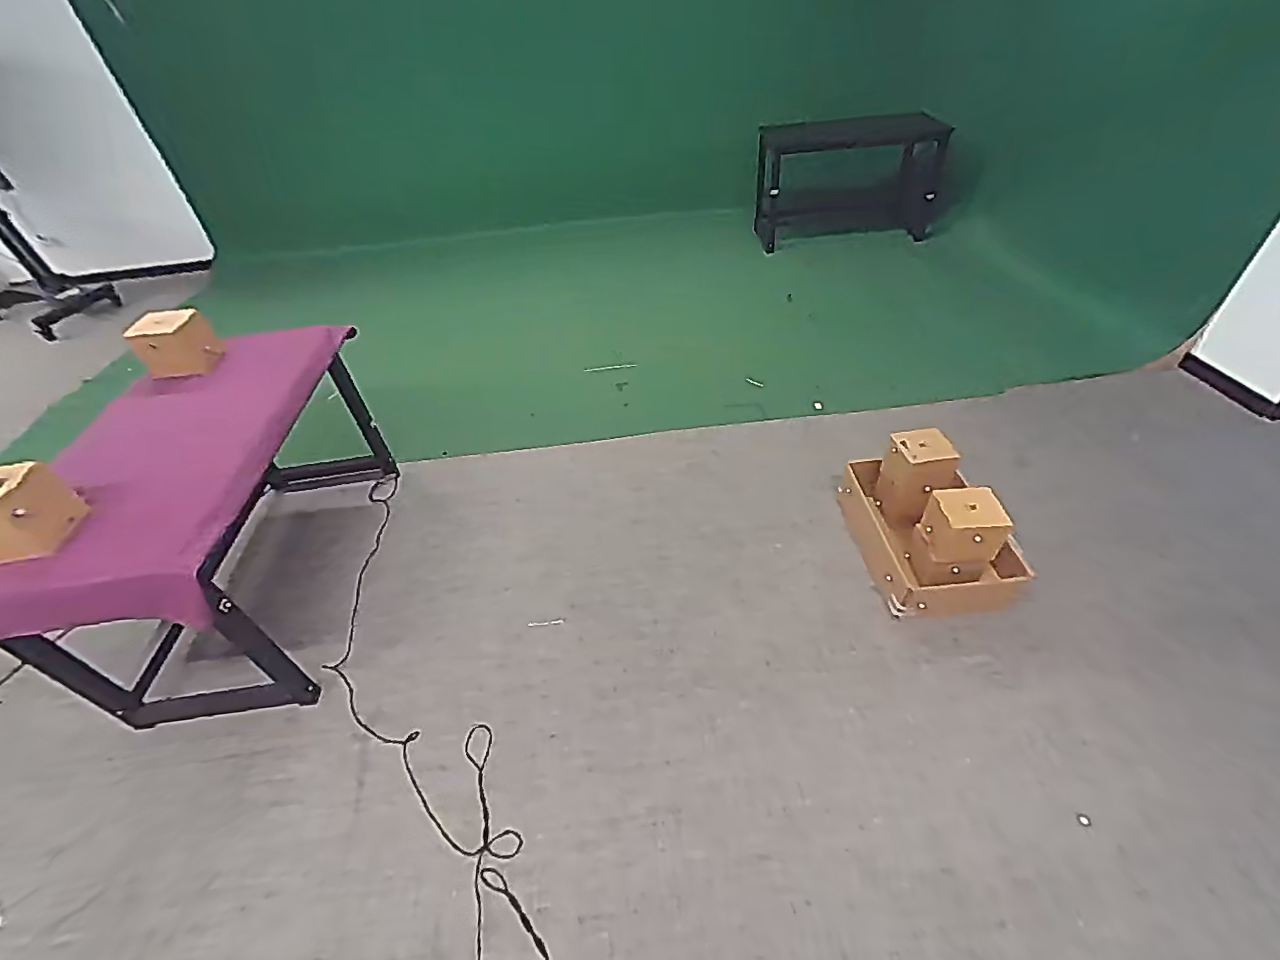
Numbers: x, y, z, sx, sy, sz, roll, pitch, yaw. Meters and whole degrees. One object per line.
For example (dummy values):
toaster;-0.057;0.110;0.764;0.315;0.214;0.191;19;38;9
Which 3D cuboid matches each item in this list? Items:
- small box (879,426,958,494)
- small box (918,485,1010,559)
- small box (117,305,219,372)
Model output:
small box;0.985;-0.070;1.928;0.179;0.176;0.168;-7;43;-2
small box;1.016;0.135;1.711;0.179;0.176;0.168;-4;44;4
small box;-1.644;-0.493;1.895;0.179;0.176;0.168;-5;46;-1
